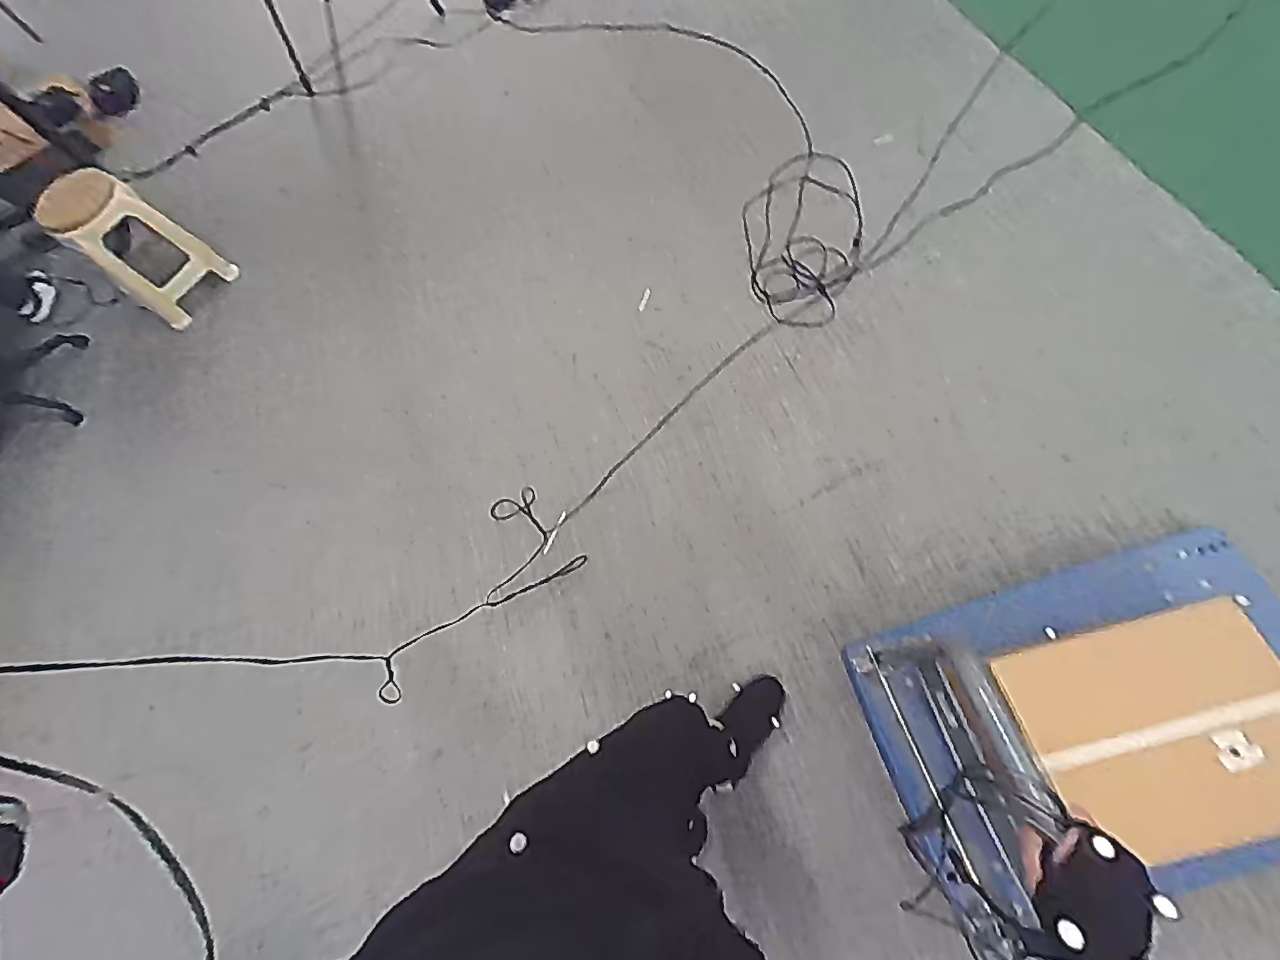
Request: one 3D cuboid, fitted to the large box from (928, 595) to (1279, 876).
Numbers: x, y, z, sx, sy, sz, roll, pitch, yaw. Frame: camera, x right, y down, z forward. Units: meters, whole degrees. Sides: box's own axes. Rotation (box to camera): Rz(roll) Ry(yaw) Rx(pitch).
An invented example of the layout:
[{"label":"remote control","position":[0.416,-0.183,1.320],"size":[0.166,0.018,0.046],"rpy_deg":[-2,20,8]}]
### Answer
[{"label":"large box","position":[0.821,0.435,0.964],"size":[0.408,0.320,0.320],"rpy_deg":[-17,67,2]}]
